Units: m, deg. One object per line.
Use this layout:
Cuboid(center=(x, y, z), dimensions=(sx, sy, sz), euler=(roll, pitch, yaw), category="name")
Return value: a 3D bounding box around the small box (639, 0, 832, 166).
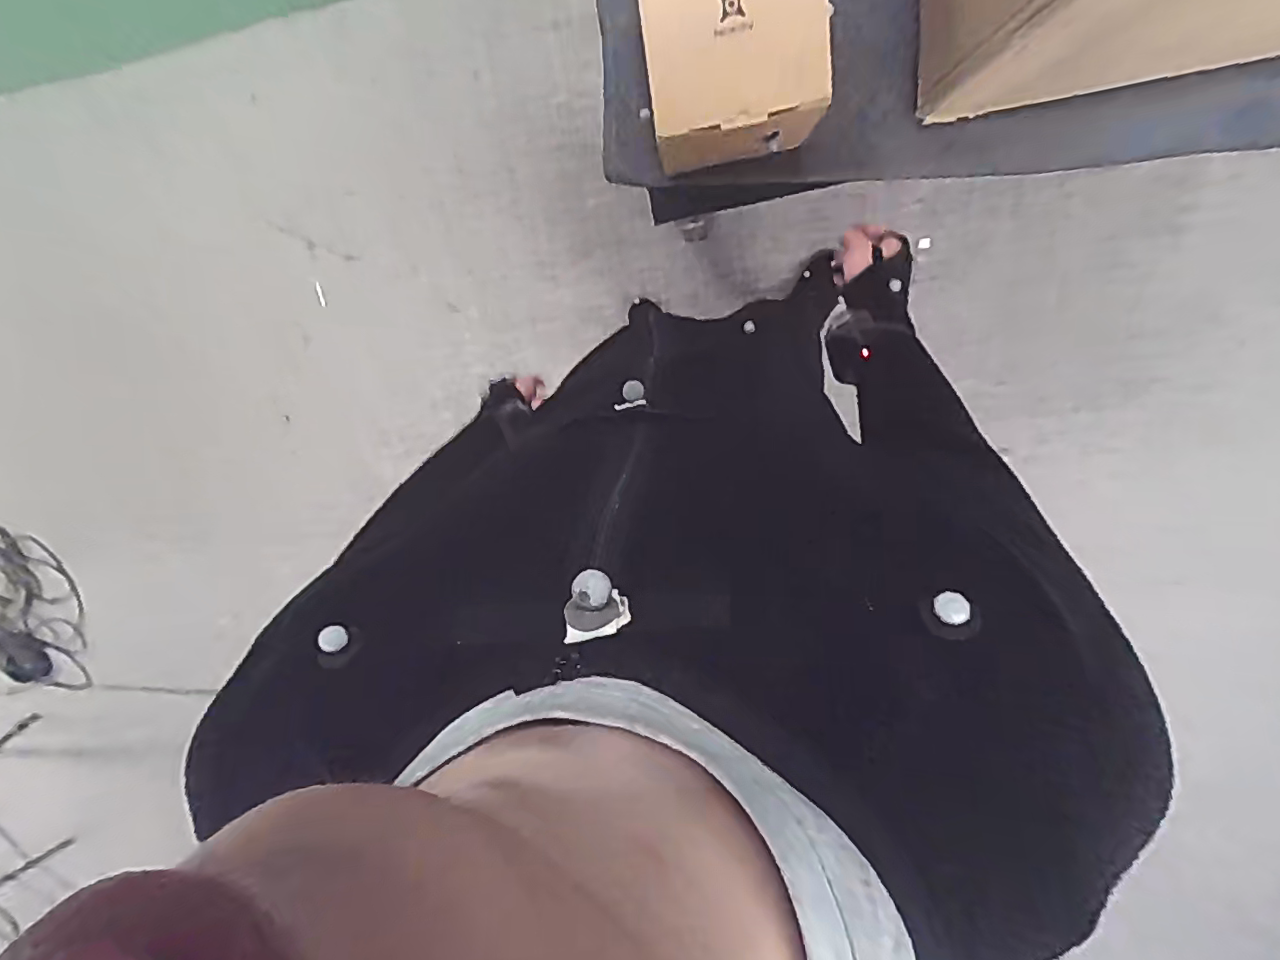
Cuboid(center=(0.091, -0.447, 0.560), dimensions=(0.168, 0.176, 0.179), euler=(-9, 106, 7), category="small box")
